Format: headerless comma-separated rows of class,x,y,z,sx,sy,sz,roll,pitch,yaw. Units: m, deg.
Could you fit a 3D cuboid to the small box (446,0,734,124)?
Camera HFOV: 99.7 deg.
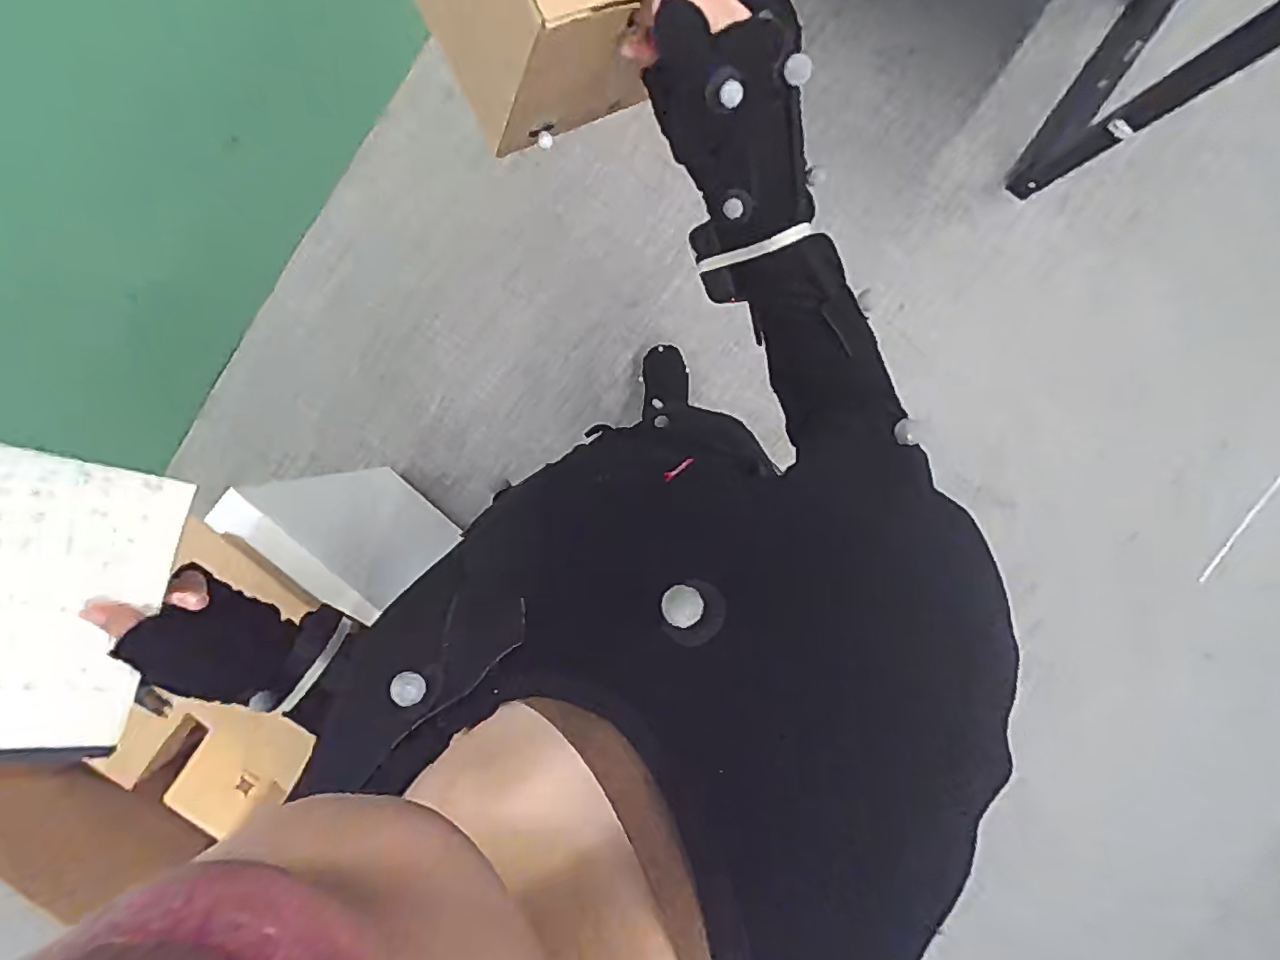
small box,-0.037,-0.363,0.344,0.168,0.176,0.179,-31,108,-17
